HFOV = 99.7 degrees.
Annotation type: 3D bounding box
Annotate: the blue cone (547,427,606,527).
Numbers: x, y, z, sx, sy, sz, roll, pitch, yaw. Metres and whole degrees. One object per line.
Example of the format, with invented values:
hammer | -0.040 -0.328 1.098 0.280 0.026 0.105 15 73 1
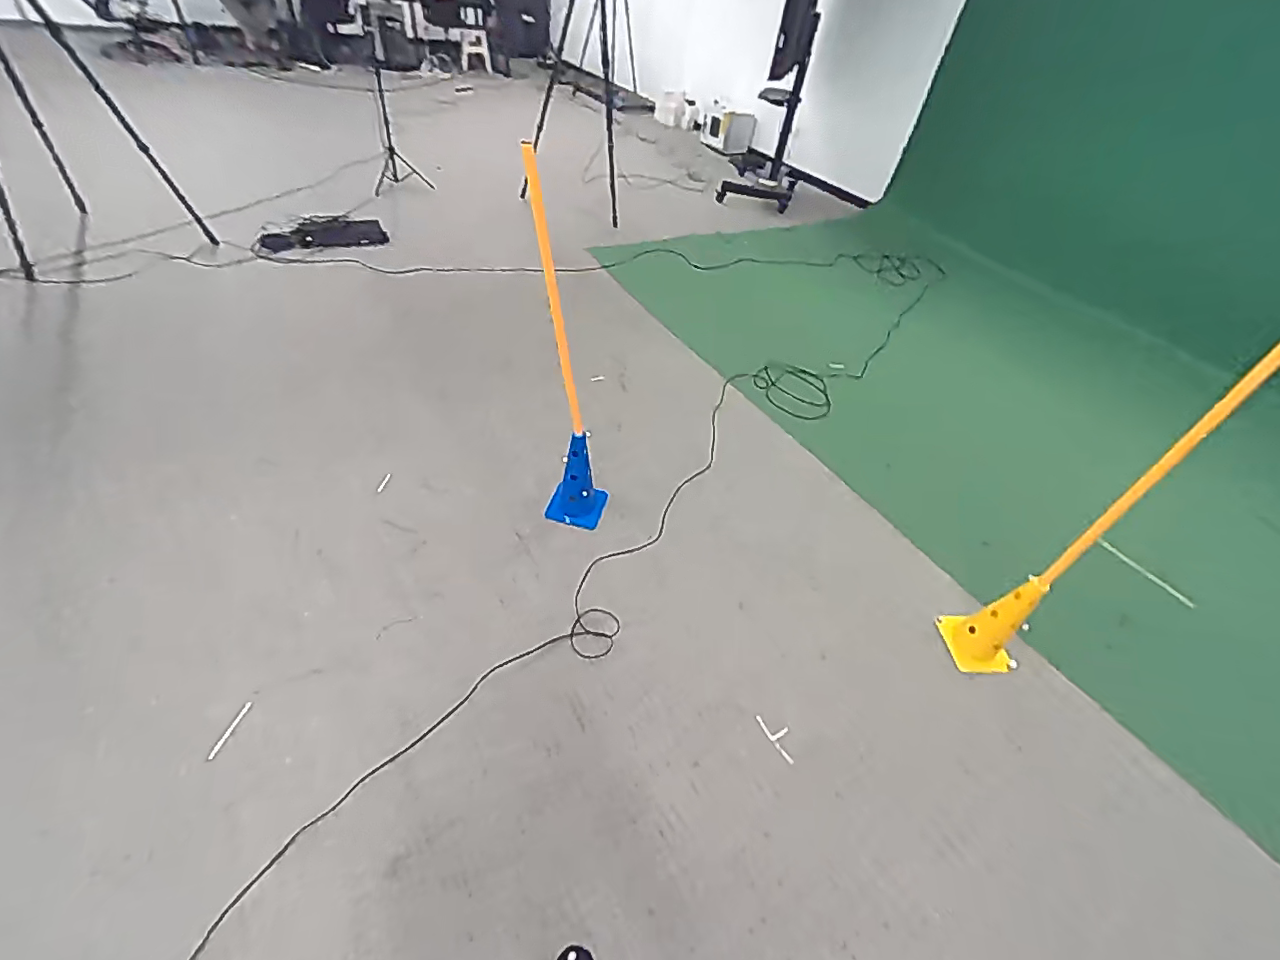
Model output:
blue cone | -0.218 -0.023 1.884 0.193 0.380 0.192 13 45 5
